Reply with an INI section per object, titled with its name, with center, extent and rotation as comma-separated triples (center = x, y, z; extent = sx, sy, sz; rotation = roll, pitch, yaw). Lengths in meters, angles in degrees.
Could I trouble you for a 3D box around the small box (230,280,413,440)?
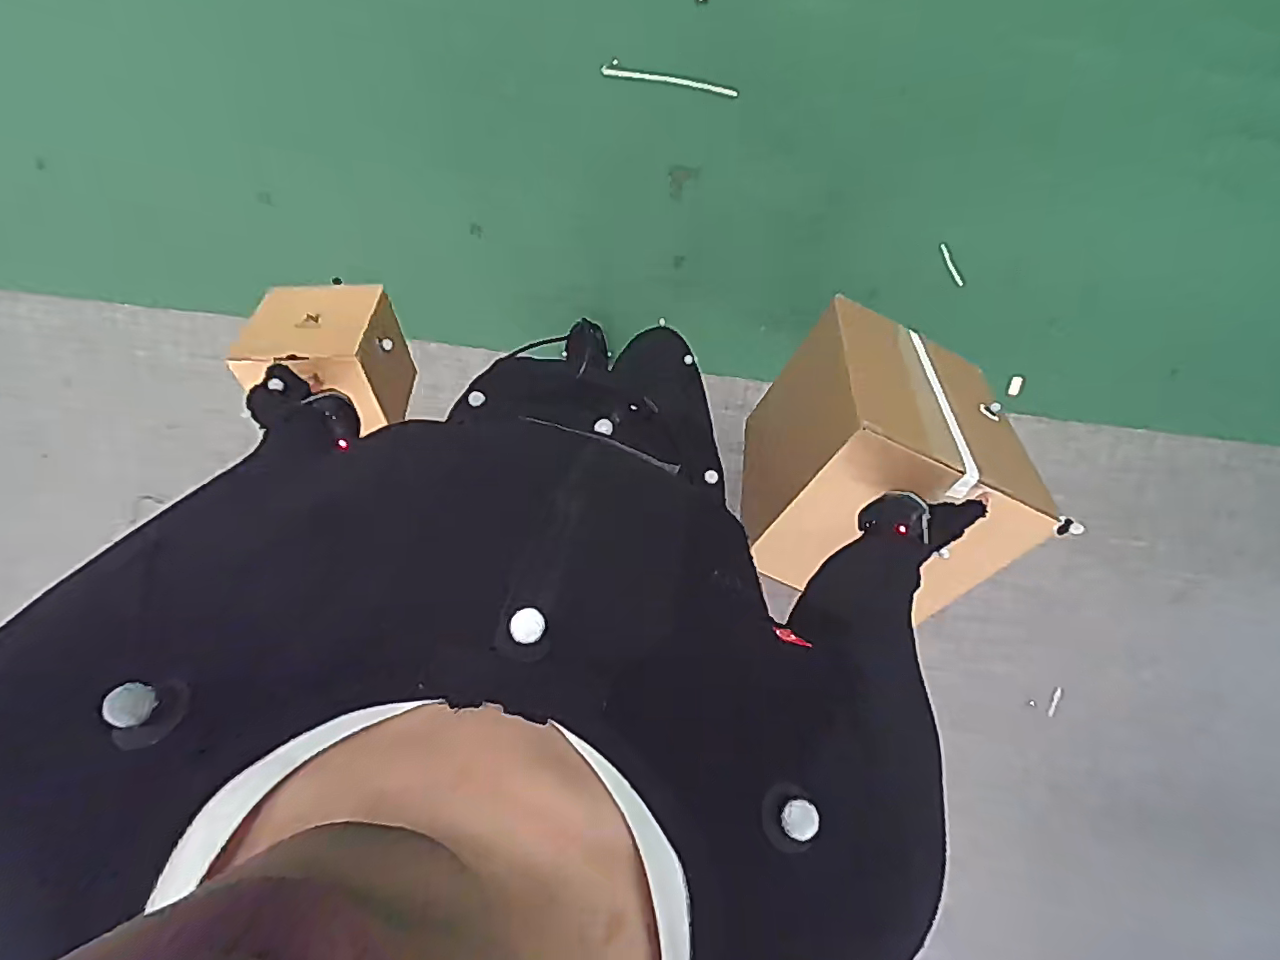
[small box]
center = -0.459, -0.180, 0.816
extent = 0.168, 0.179, 0.176
rotation = -3, 142, -4
